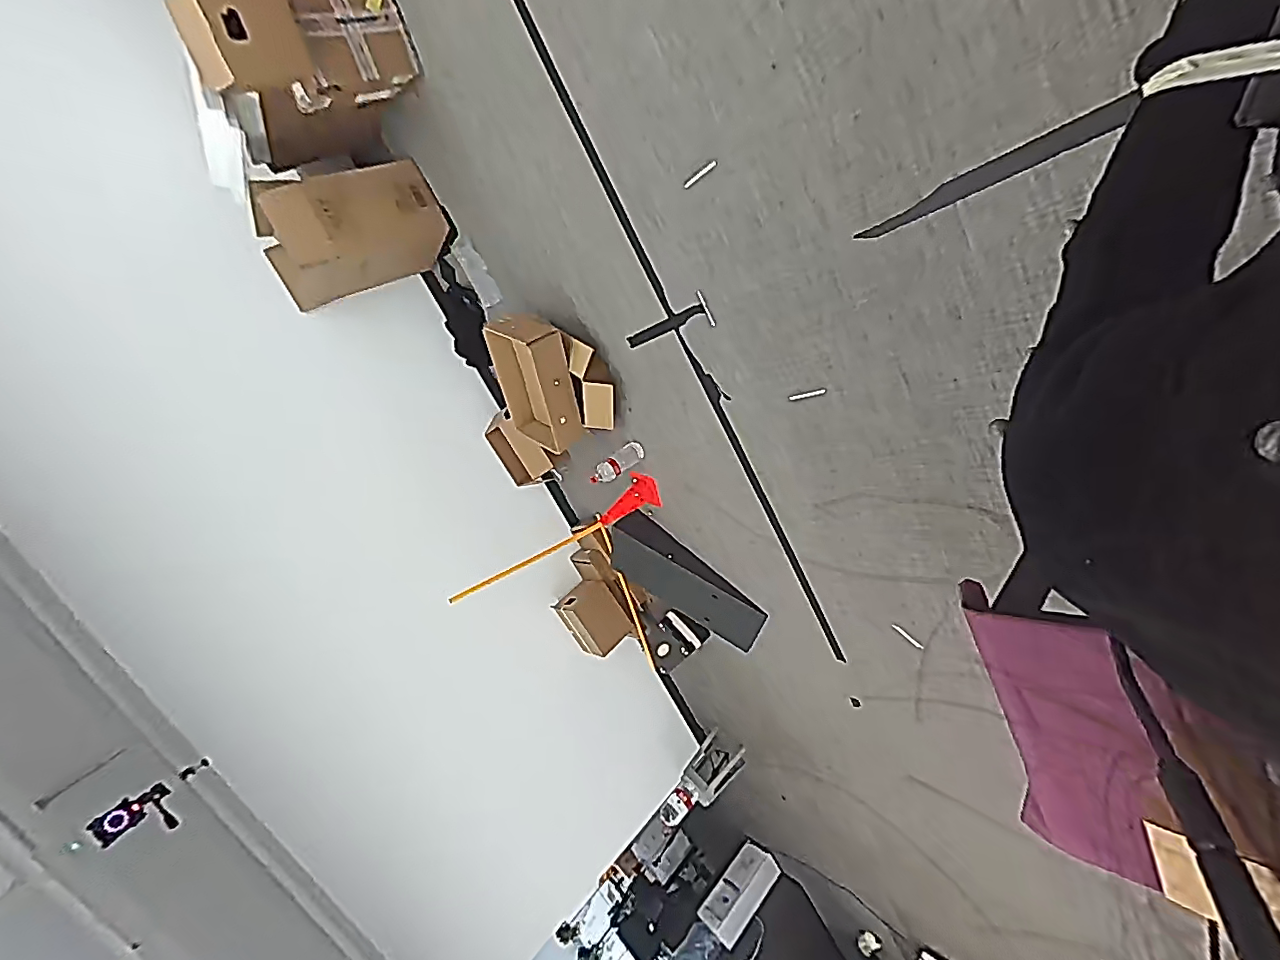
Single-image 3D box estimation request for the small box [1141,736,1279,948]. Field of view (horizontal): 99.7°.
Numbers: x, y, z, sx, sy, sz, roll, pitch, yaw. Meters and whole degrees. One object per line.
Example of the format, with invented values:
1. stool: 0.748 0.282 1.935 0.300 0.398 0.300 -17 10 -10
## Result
1. small box: 0.818 0.480 0.722 0.179 0.176 0.168 -3 120 56
